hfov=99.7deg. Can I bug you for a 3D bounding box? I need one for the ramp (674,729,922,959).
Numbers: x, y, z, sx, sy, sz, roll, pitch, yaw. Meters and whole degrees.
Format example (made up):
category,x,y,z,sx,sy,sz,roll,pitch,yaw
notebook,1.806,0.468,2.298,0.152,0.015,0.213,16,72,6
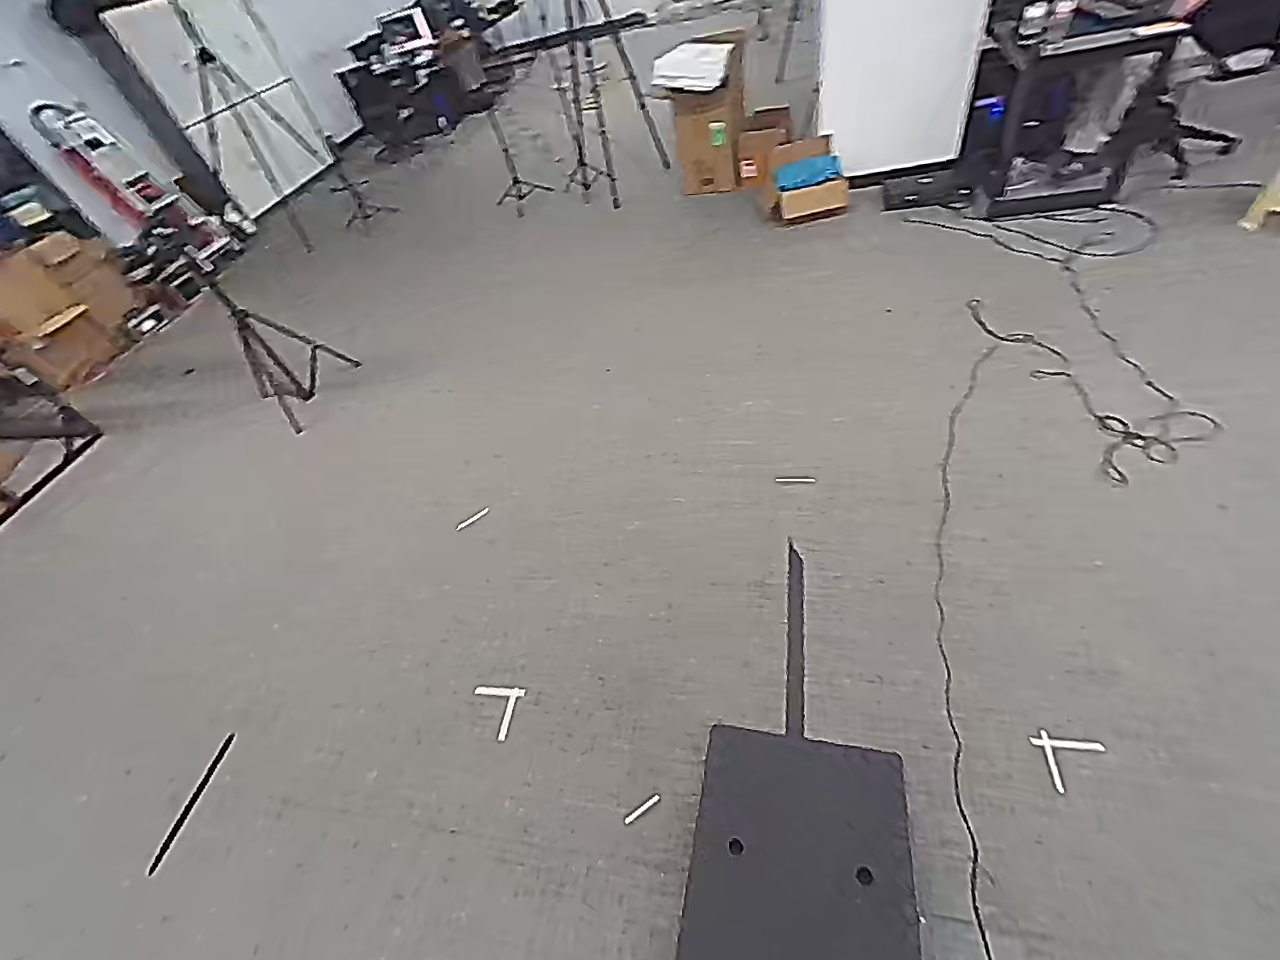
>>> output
category,x,y,z,sx,sy,sz,roll,pitch,yaw
ramp,0.307,1.014,1.088,0.509,0.206,0.991,-1,48,17
